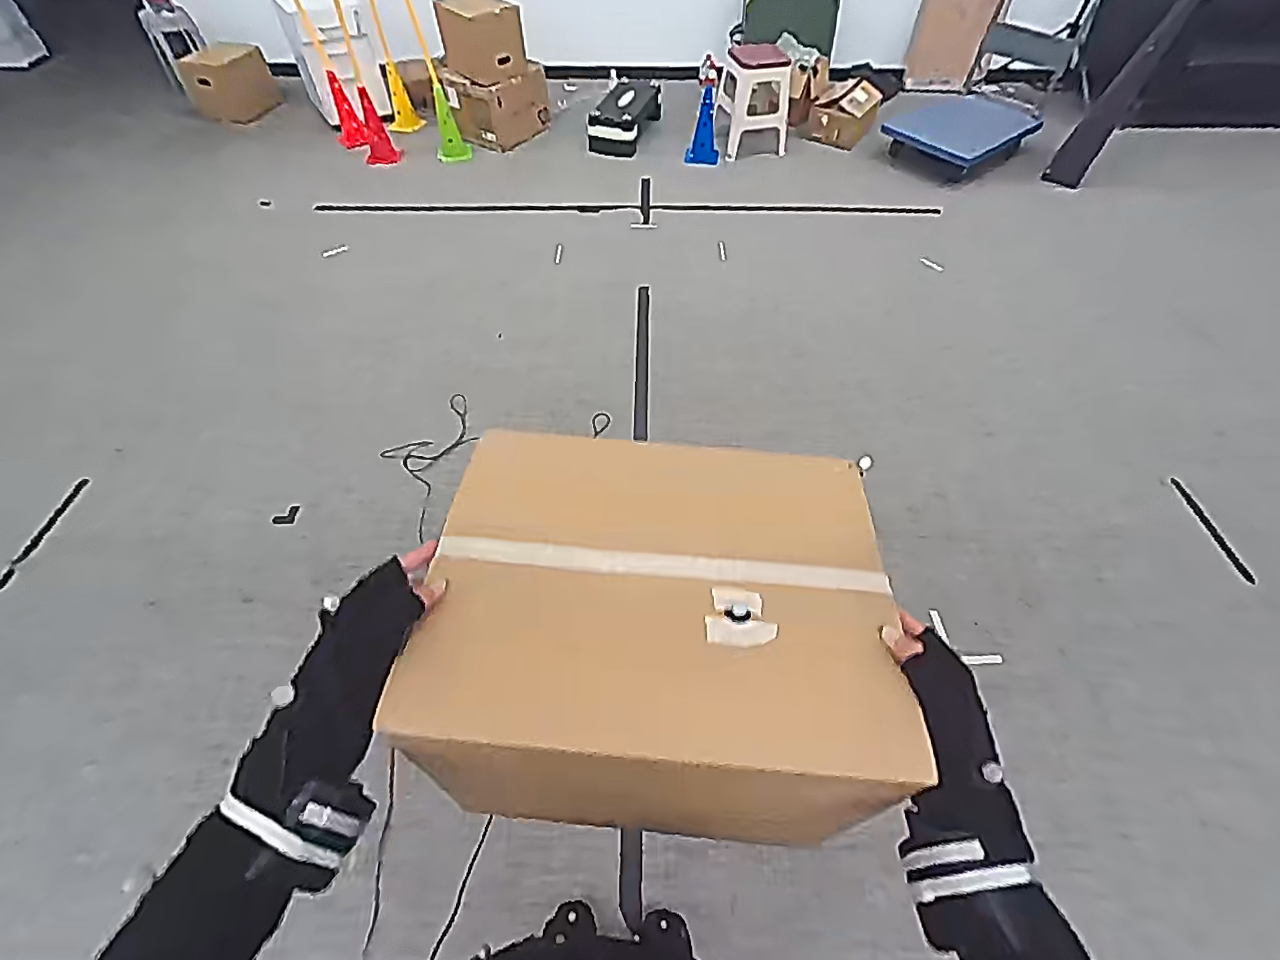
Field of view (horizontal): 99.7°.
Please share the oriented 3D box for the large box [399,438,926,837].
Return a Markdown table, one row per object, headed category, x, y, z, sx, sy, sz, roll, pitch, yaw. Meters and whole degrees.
| category | x | y | z | sx | sy | sz | roll | pitch | yaw |
| --- | --- | --- | --- | --- | --- | --- | --- | --- | --- |
| large box | 0.018 | 0.179 | 0.608 | 0.408 | 0.320 | 0.320 | 5 | 48 | 1 |
